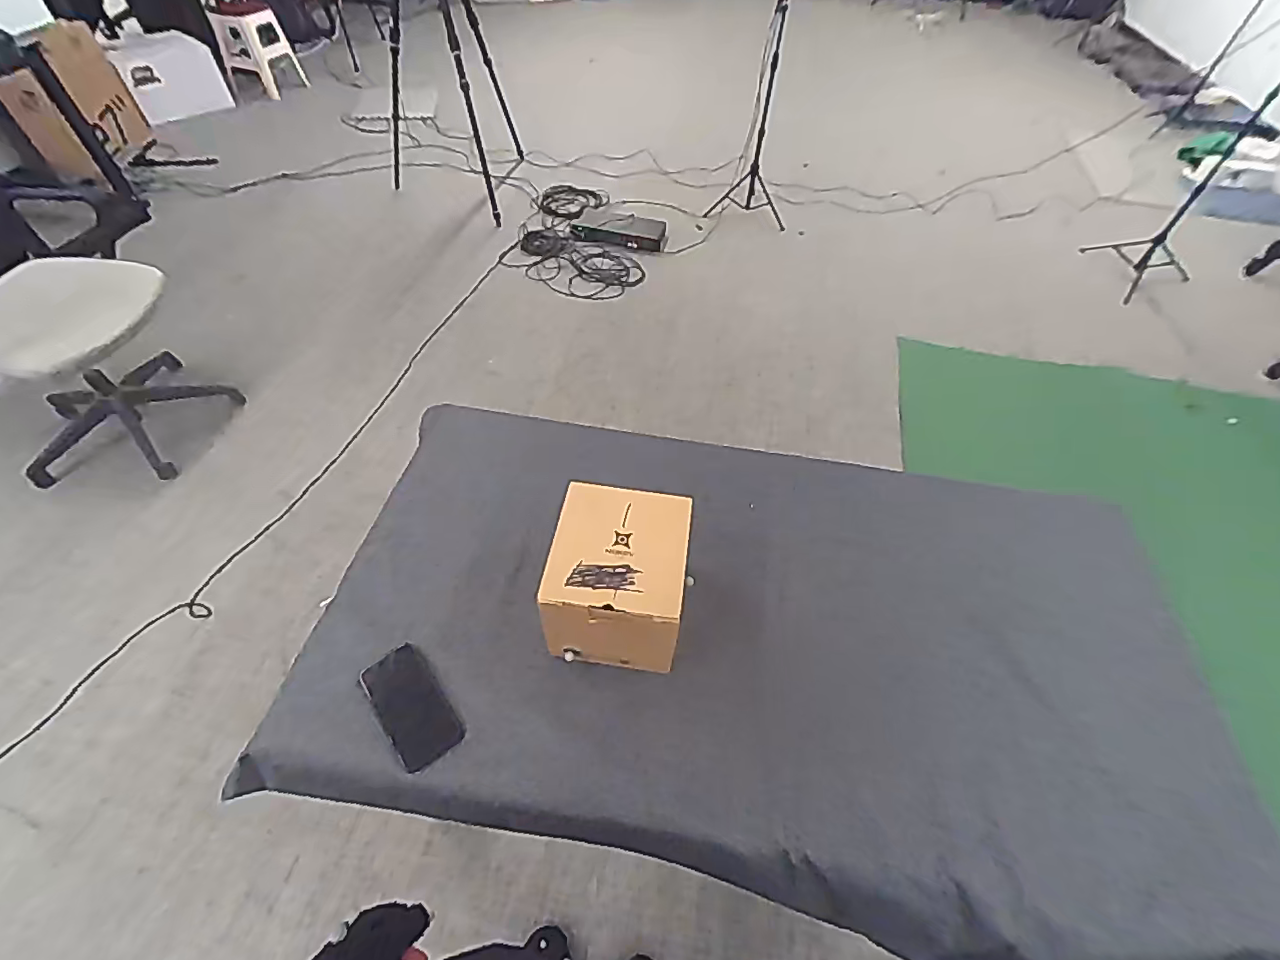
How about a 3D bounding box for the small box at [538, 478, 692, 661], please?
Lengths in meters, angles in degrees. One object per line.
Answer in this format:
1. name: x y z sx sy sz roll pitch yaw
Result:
1. small box: -0.027 0.124 0.725 0.168 0.176 0.179 8 51 3
